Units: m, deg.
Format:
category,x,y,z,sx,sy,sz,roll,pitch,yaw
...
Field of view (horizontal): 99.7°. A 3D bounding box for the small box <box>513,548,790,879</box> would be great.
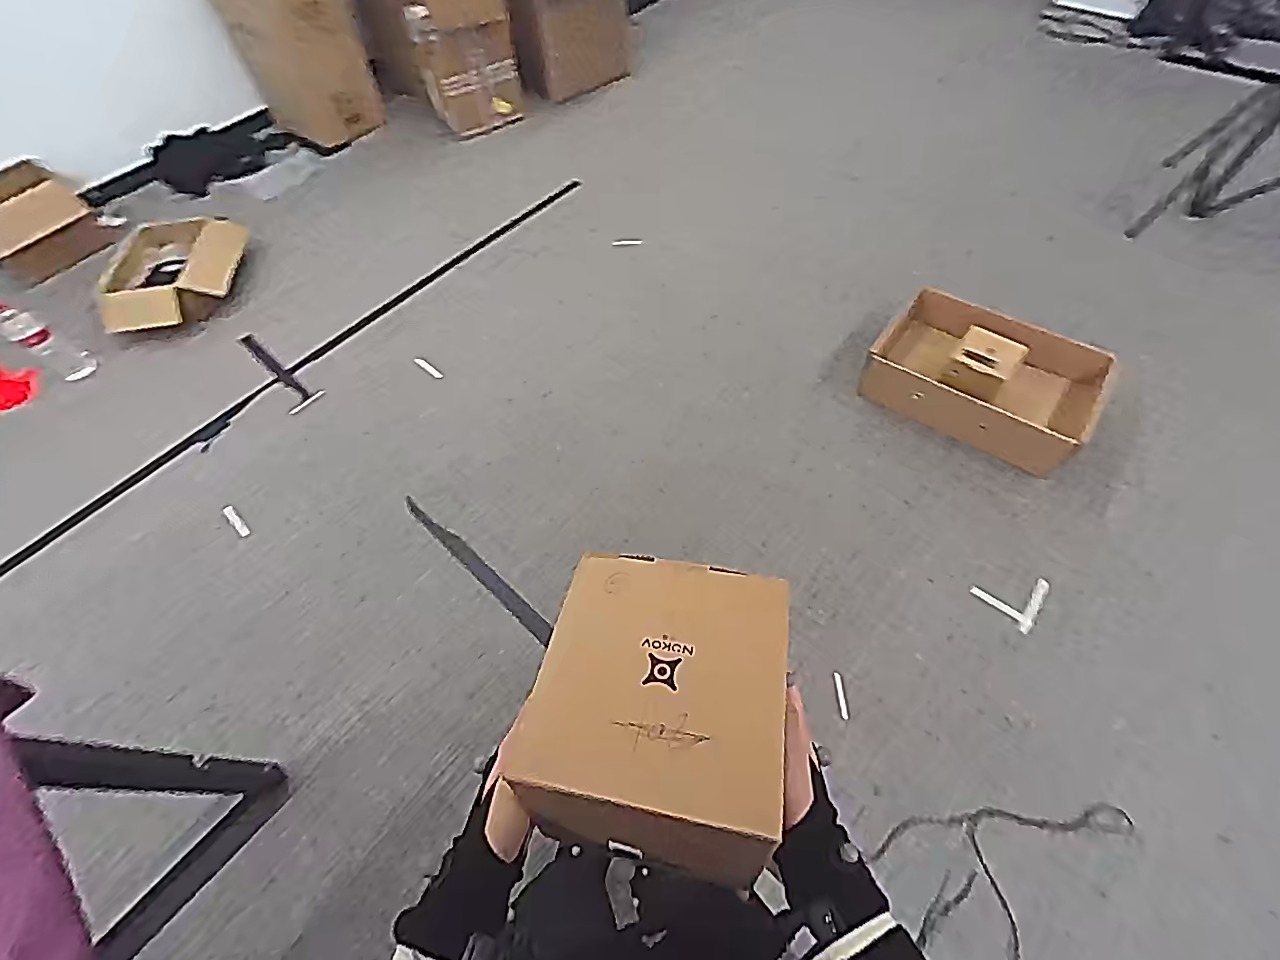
category,x,y,z,sx,sy,sz,roll,pitch,yaw
small box,0.021,0.183,0.430,0.168,0.176,0.179,7,47,11
